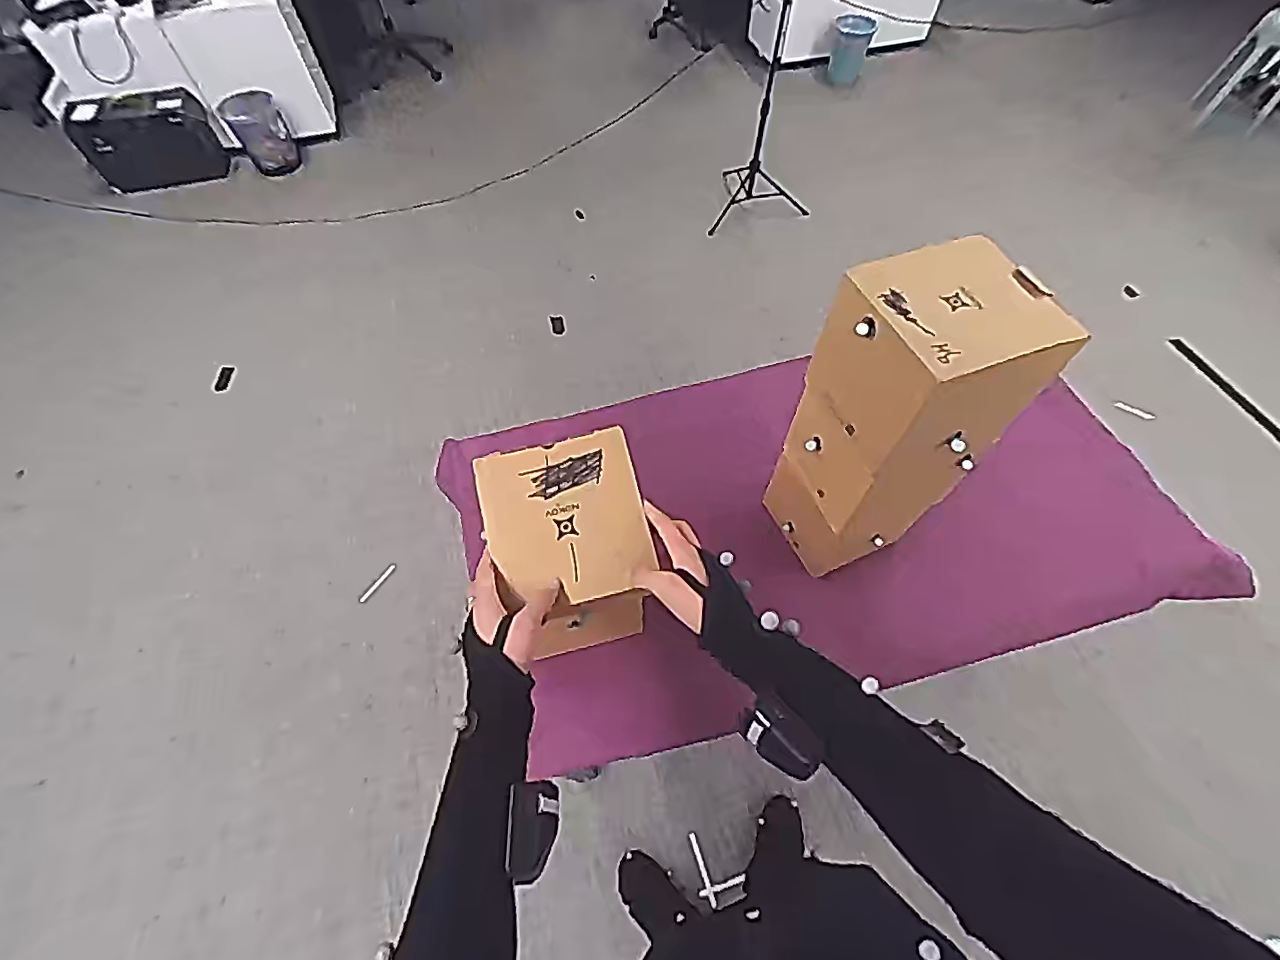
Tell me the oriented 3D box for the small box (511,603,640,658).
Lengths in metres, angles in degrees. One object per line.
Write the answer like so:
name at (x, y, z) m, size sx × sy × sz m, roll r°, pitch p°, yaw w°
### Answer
small box at (-0.100, 0.152, 0.815) m, size 0.179 × 0.176 × 0.168 m, roll -12°, pitch 58°, yaw -8°

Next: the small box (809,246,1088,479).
small box at (0.319, -0.126, 0.604) m, size 0.179 × 0.176 × 0.168 m, roll -16°, pitch 59°, yaw -11°

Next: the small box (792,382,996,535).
small box at (0.327, -0.045, 0.747) m, size 0.179 × 0.176 × 0.168 m, roll -16°, pitch 60°, yaw -10°

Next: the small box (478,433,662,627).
small box at (-0.079, 0.068, 0.640) m, size 0.168 × 0.176 × 0.179 m, roll -13°, pitch 75°, yaw -6°
